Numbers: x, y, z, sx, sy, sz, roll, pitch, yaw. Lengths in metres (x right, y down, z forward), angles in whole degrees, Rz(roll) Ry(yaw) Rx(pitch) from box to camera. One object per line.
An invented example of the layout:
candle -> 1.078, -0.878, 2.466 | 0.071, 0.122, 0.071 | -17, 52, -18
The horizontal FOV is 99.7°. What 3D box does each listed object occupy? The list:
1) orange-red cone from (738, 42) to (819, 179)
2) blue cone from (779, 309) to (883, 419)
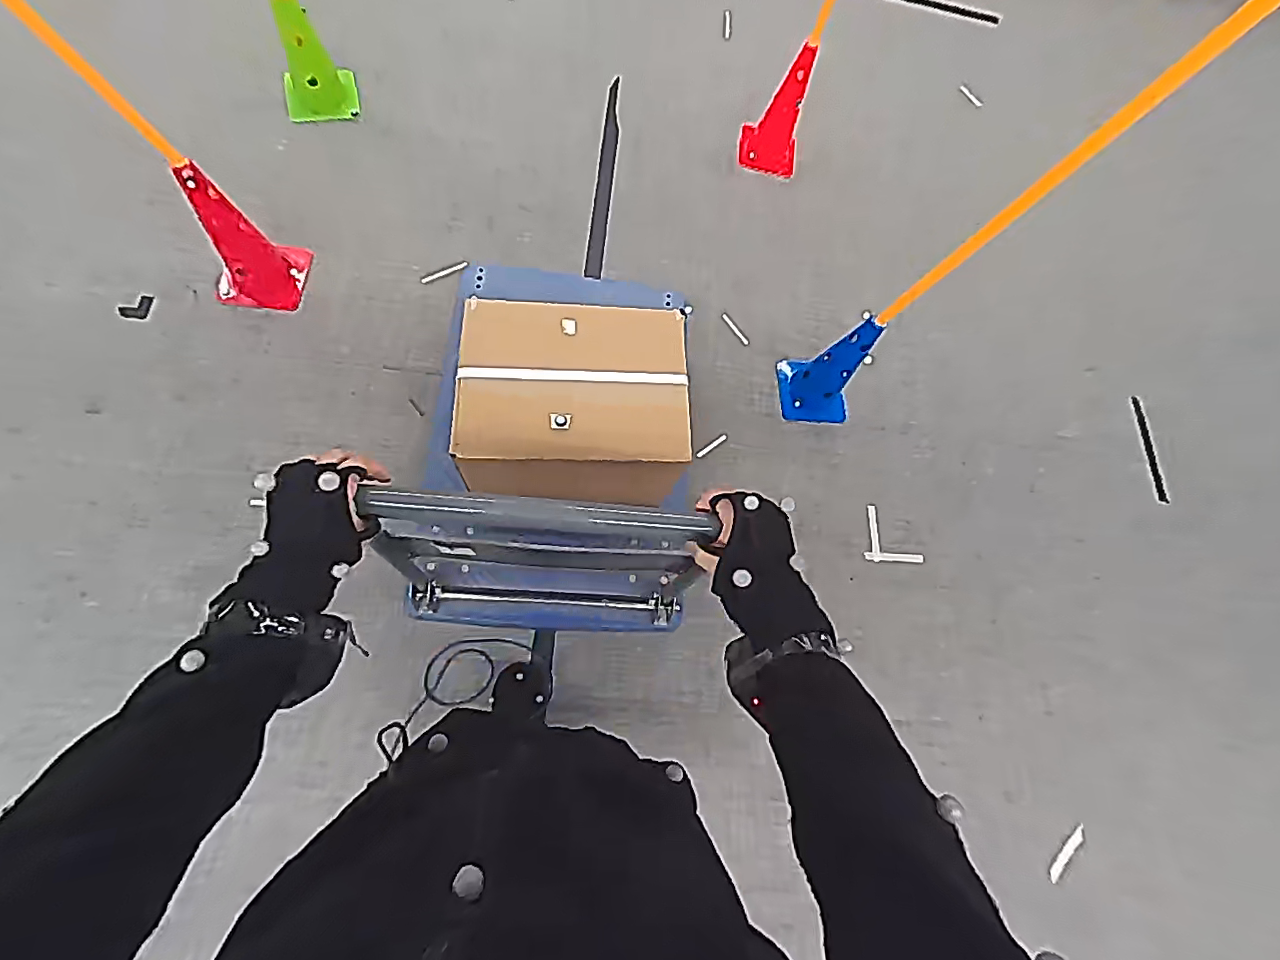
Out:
orange-red cone -> 0.471, -1.193, 1.718 | 0.199, 0.360, 0.198 | 13, 71, -6
blue cone -> 0.537, -0.322, 1.458 | 0.193, 0.380, 0.192 | 3, 71, -9
